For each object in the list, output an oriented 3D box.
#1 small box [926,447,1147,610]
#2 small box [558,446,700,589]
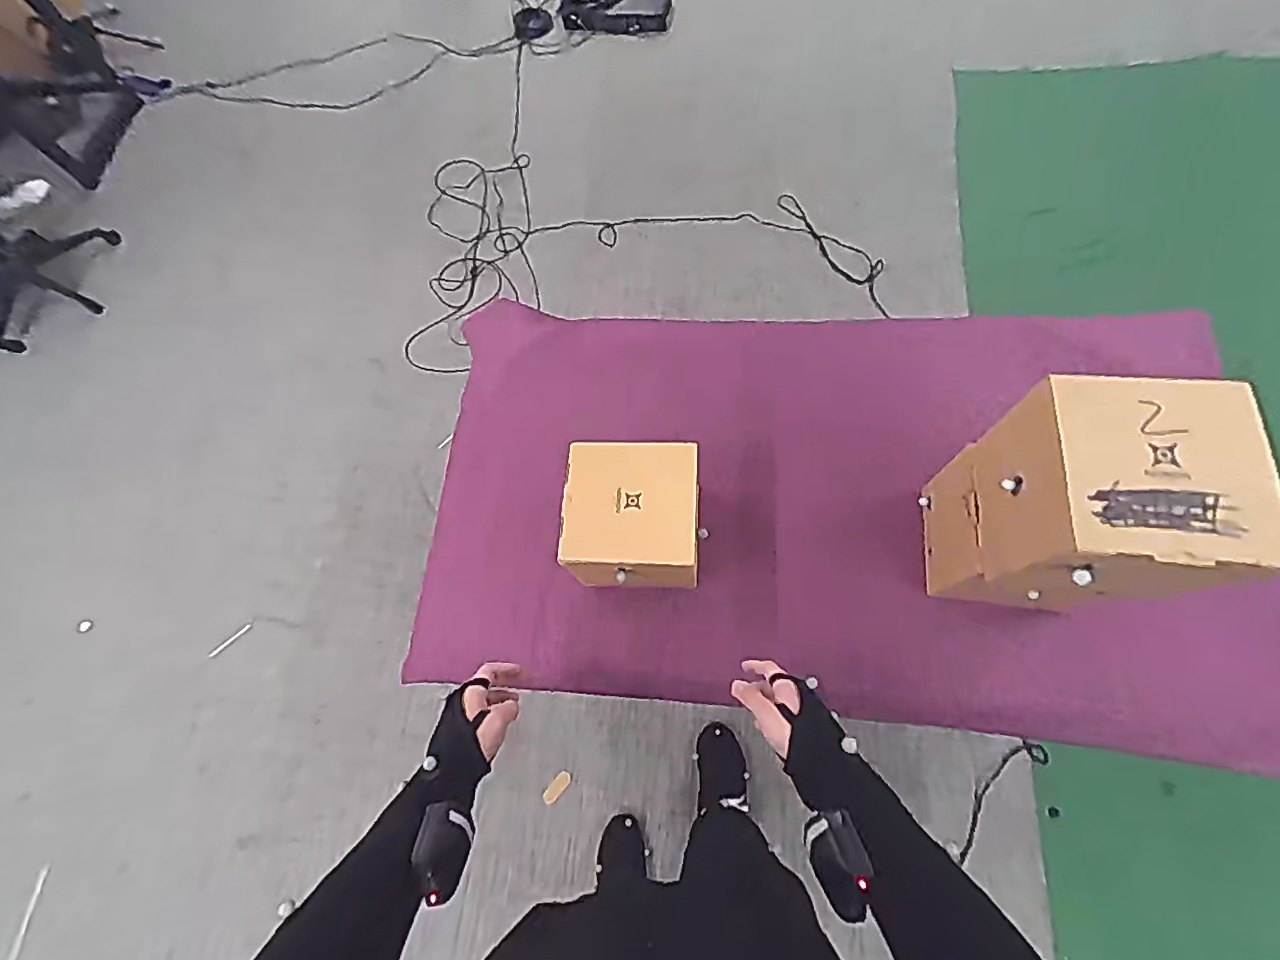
[{"bbox_3d":[0.489,0.070,0.704,0.179,0.176,0.168,5,70,9],"label":"small box"},{"bbox_3d":[-0.004,0.059,0.773,0.179,0.176,0.168,0,69,8],"label":"small box"}]
